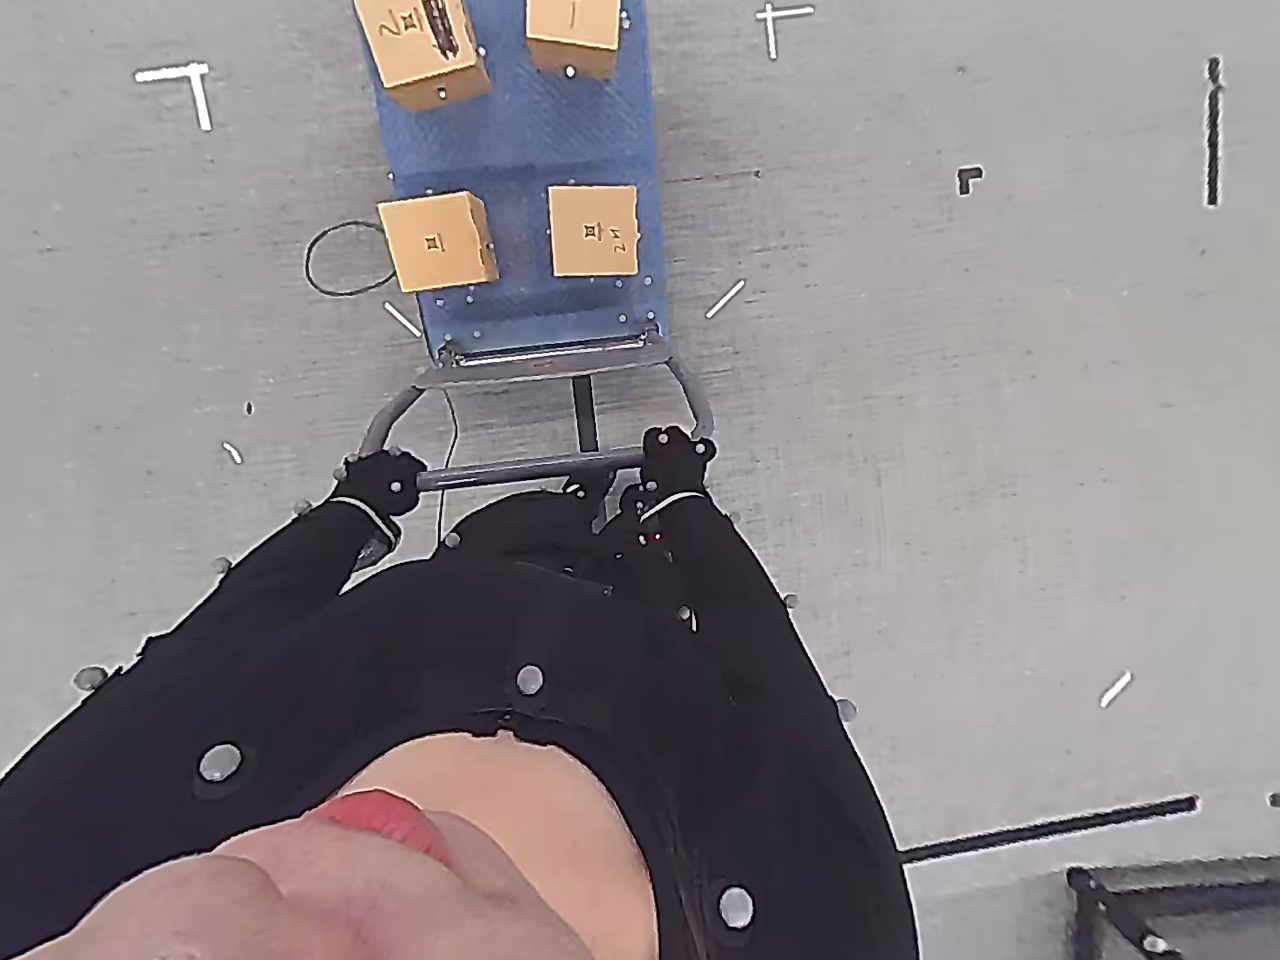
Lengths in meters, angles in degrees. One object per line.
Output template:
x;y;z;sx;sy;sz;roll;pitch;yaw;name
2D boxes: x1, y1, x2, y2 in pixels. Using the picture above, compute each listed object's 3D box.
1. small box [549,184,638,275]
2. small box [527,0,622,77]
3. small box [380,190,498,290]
-0.096;-0.529;1.157;0.179;0.176;0.168;-3;112;-4;small box
-0.120;-0.897;1.014;0.168;0.176;0.179;3;112;-7;small box
-0.412;-0.496;1.138;0.179;0.176;0.168;-10;111;-4;small box
